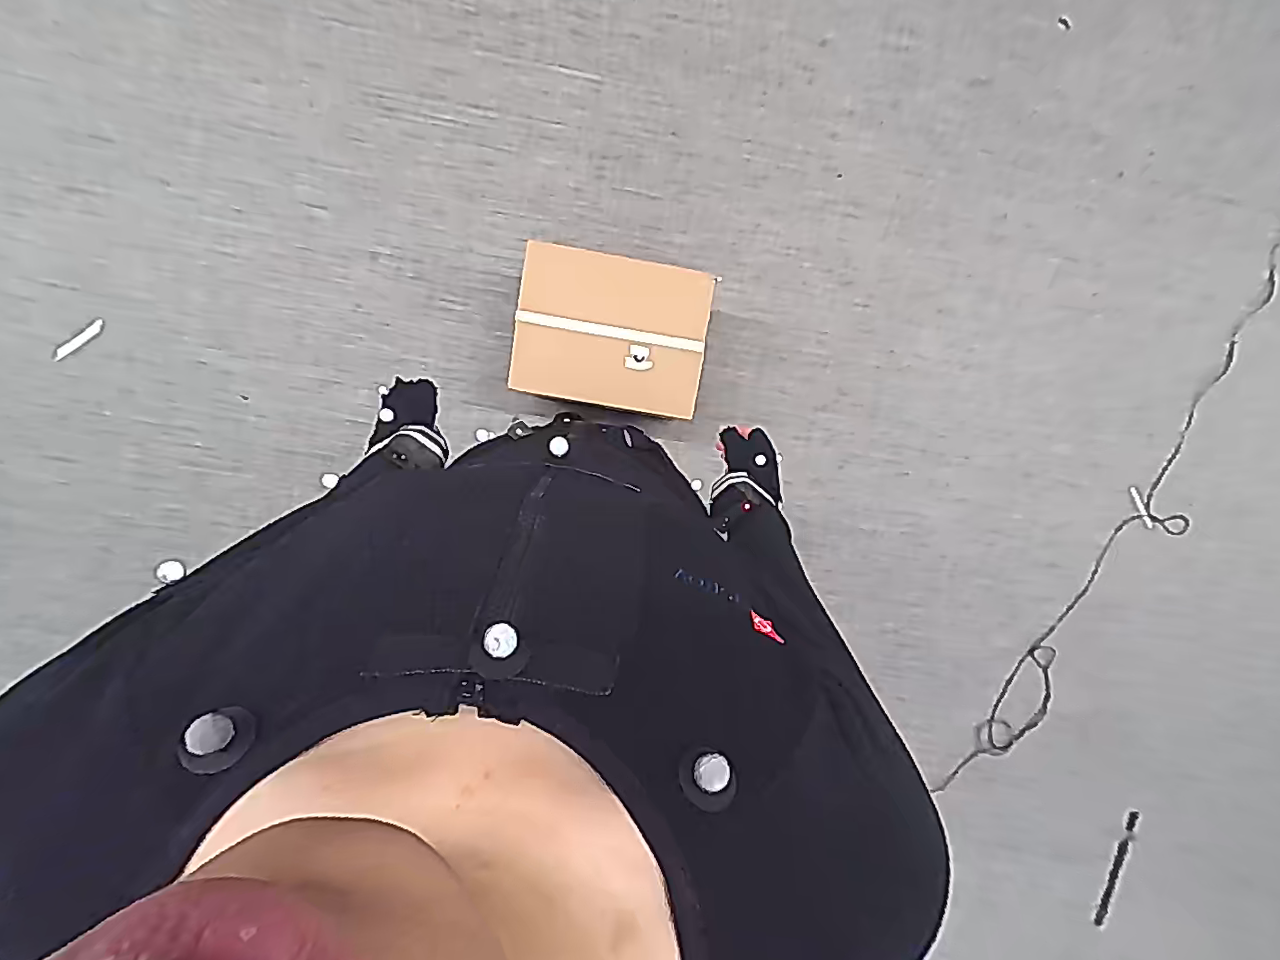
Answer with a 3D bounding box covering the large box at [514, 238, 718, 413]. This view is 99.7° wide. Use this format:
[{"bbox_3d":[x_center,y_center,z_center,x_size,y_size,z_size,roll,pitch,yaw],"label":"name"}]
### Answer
[{"bbox_3d":[-0.062,-0.341,1.292,0.408,0.320,0.320,9,97,-4],"label":"large box"}]
